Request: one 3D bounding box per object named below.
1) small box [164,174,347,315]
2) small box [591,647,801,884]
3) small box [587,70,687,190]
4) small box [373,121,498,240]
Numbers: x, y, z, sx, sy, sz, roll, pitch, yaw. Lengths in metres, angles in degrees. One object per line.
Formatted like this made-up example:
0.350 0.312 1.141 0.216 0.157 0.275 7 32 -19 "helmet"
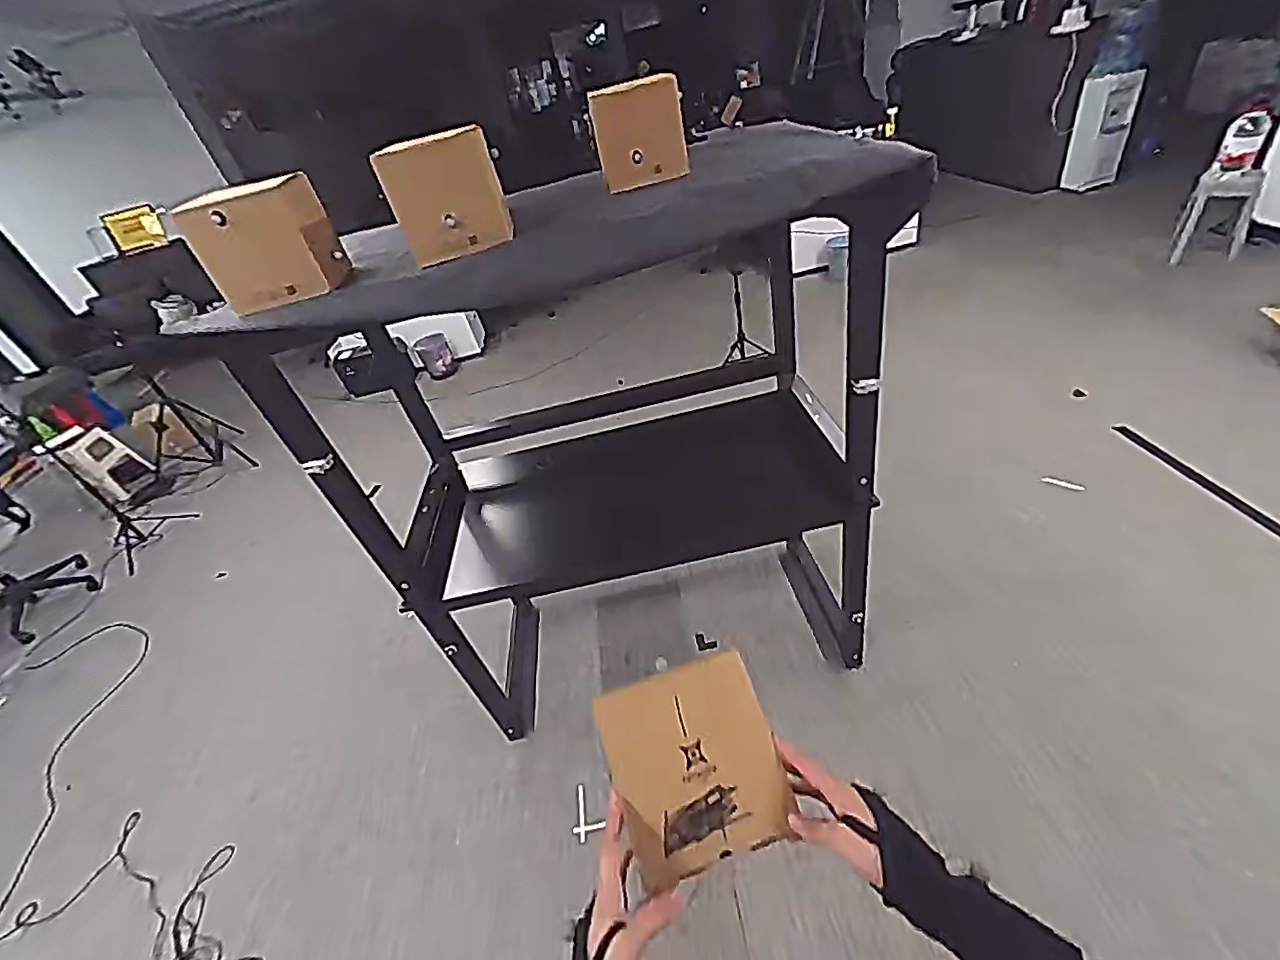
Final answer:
-0.630 -0.399 0.918 0.168 0.176 0.179 -17 38 -3 "small box"
0.052 0.298 0.608 0.168 0.176 0.179 -17 73 -8 "small box"
-0.007 -0.701 1.087 0.168 0.176 0.179 -13 39 3 "small box"
-0.402 -0.604 1.100 0.168 0.176 0.179 -11 39 4 "small box"
